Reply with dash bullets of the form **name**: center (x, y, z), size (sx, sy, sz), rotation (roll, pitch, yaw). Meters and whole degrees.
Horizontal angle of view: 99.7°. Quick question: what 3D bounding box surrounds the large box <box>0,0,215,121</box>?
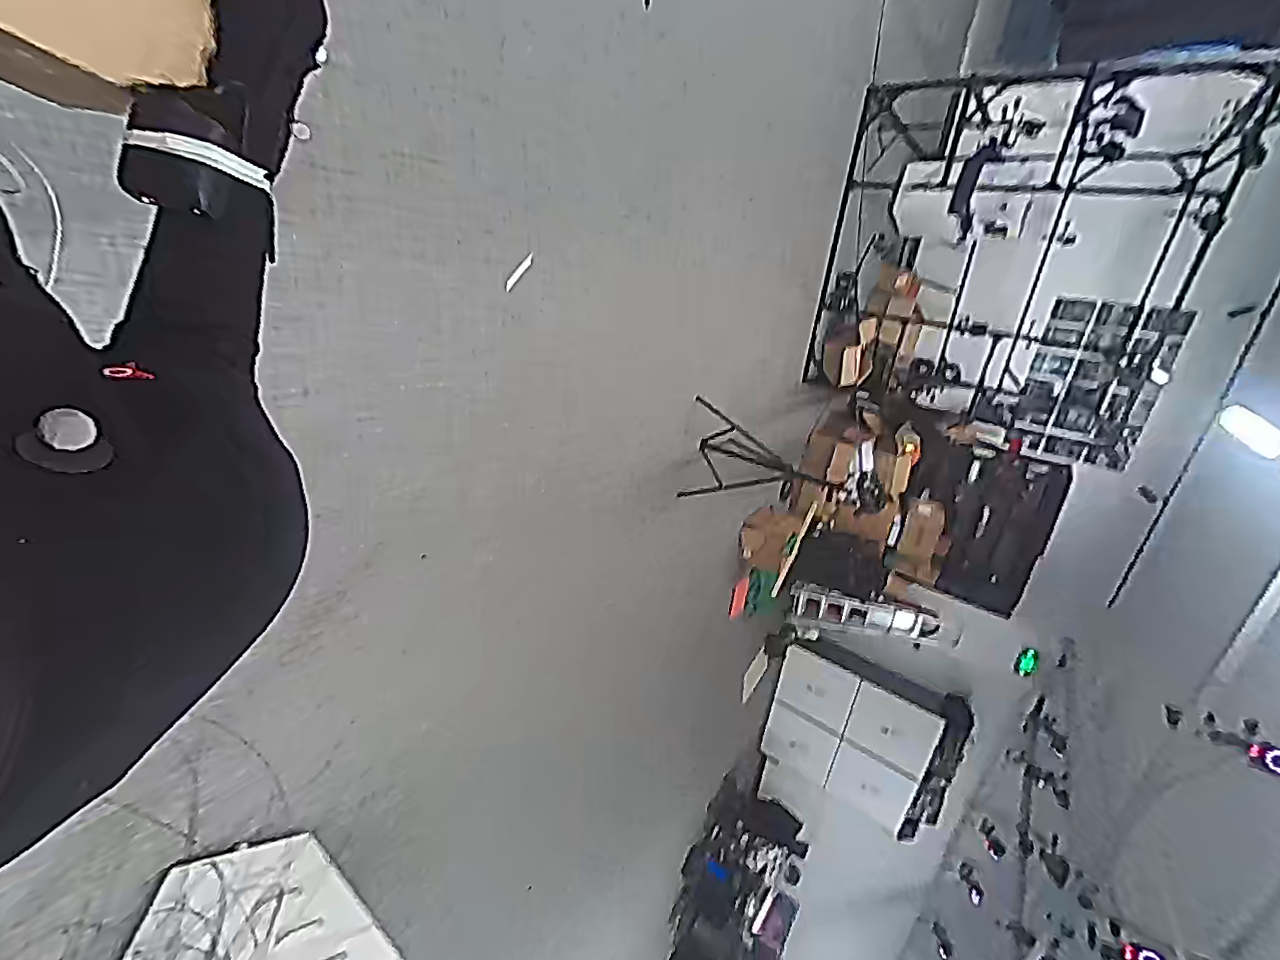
- **large box**: center (-0.494, -0.453, 0.262), size (0.408, 0.320, 0.320), rotation (2, 111, -60)
